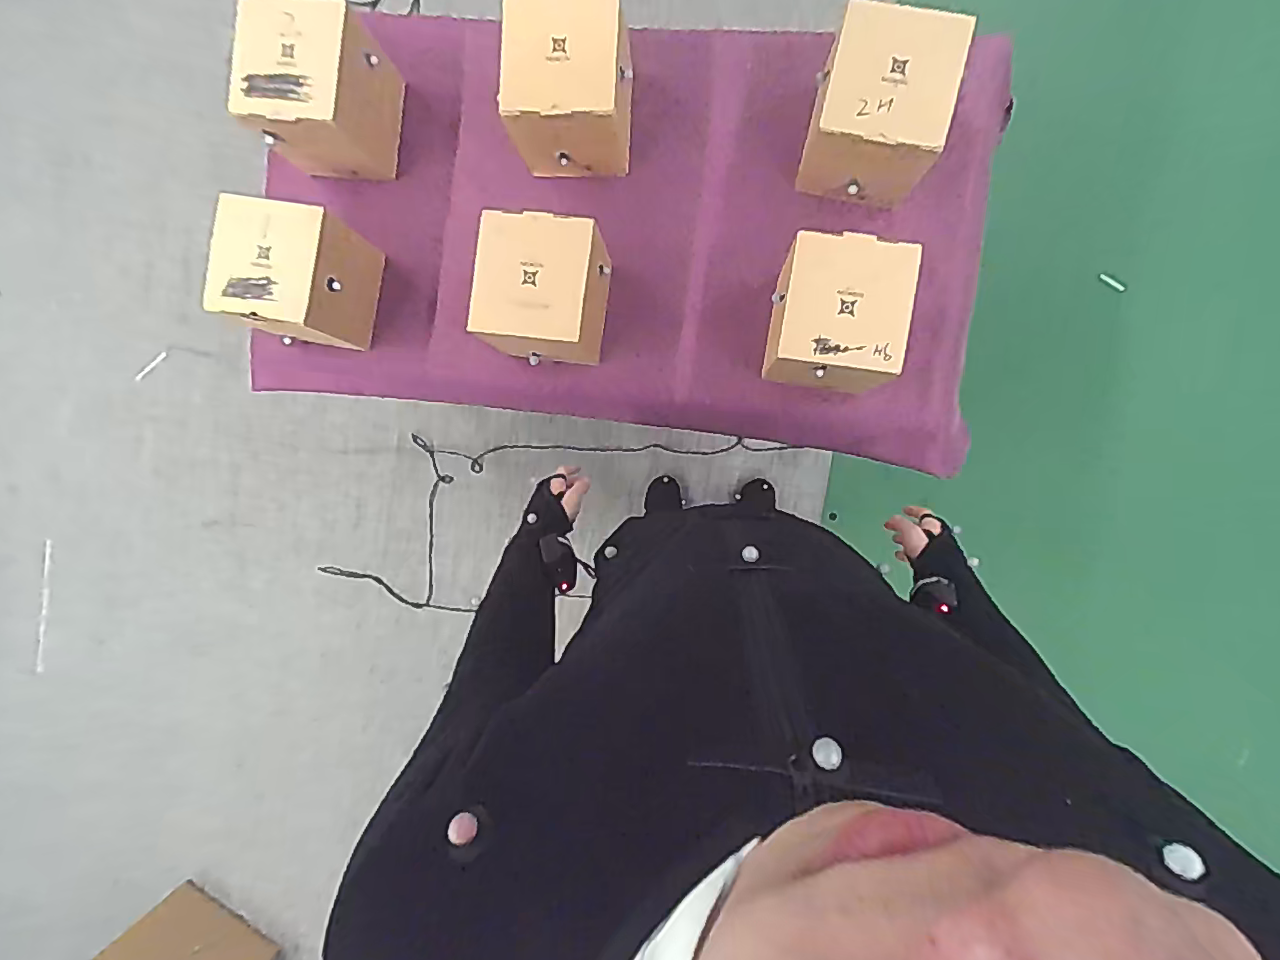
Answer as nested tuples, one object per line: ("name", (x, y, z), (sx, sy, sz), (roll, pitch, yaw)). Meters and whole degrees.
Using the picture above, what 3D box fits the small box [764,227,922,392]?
("small box", (0.286, -0.241, 0.799), (0.168, 0.176, 0.179), (10, 91, 5))

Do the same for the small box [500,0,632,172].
("small box", (-0.103, -0.602, 0.821), (0.168, 0.176, 0.179), (3, 94, 4))

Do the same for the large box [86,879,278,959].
("large box", (-1.464, 1.573, 1.680), (0.408, 0.320, 0.320), (32, 95, 2))

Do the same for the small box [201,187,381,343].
("small box", (-0.543, -0.330, 0.864), (0.168, 0.176, 0.179), (10, 91, 4))

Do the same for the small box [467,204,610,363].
("small box", (-0.146, -0.293, 0.835), (0.168, 0.176, 0.179), (8, 92, 5))

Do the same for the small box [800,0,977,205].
("small box", (0.343, -0.536, 0.784), (0.168, 0.176, 0.179), (14, 94, 5))
